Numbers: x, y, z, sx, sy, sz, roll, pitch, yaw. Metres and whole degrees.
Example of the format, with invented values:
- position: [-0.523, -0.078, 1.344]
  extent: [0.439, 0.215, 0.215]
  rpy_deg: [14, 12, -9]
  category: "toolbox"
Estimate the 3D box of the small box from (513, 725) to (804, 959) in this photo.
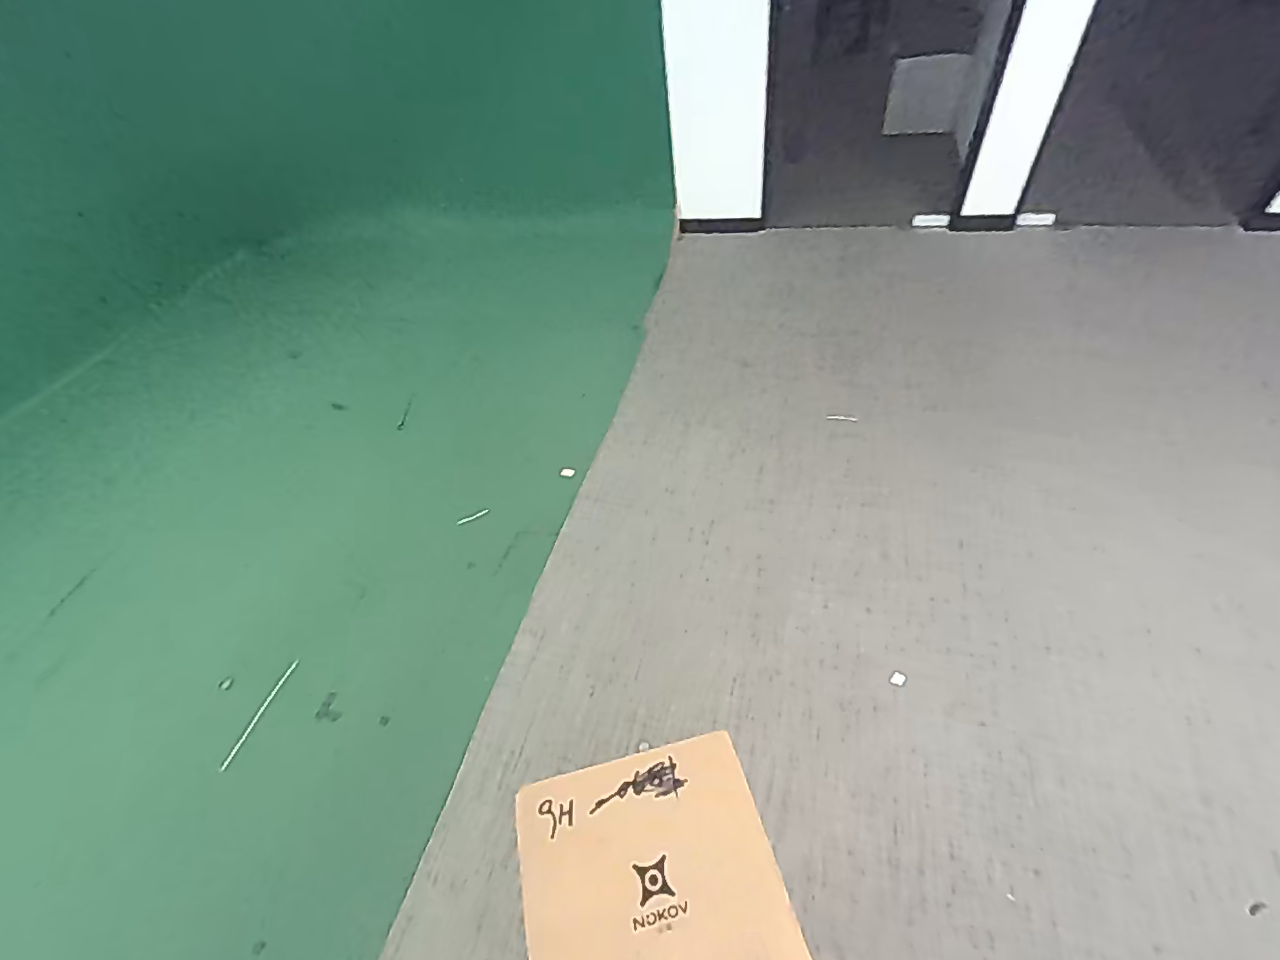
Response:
- position: [0.008, 0.315, 0.400]
  extent: [0.168, 0.176, 0.179]
  rpy_deg: [-11, 46, -9]
  category: "small box"
